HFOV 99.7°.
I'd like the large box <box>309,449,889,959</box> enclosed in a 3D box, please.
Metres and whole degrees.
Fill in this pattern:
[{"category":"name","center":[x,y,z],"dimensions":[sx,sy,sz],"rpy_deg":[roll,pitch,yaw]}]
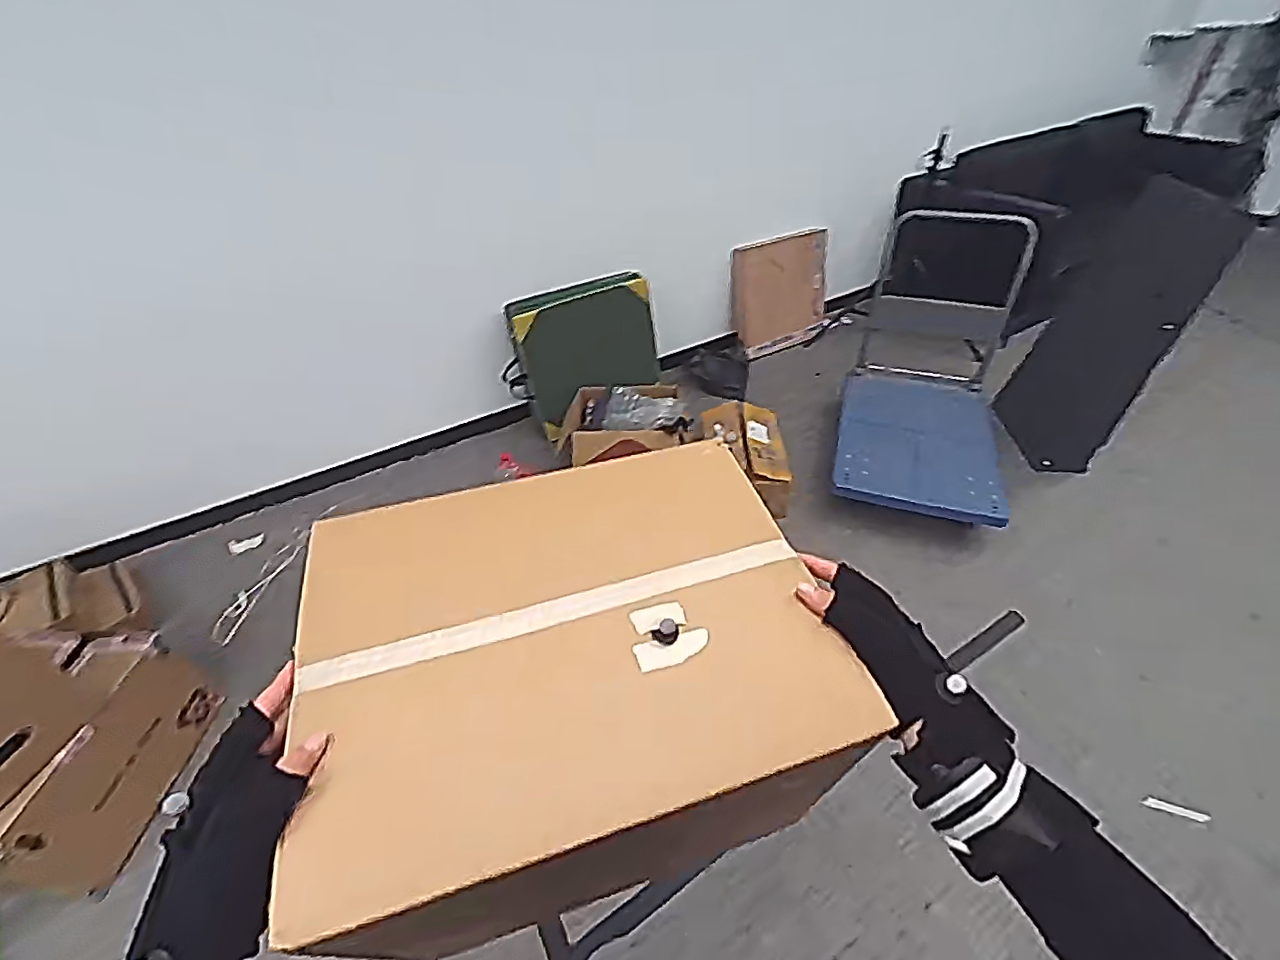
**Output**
[{"category":"large box","center":[-0.052,0.215,0.554],"dimensions":[0.408,0.320,0.320],"rpy_deg":[-12,49,-13]}]
